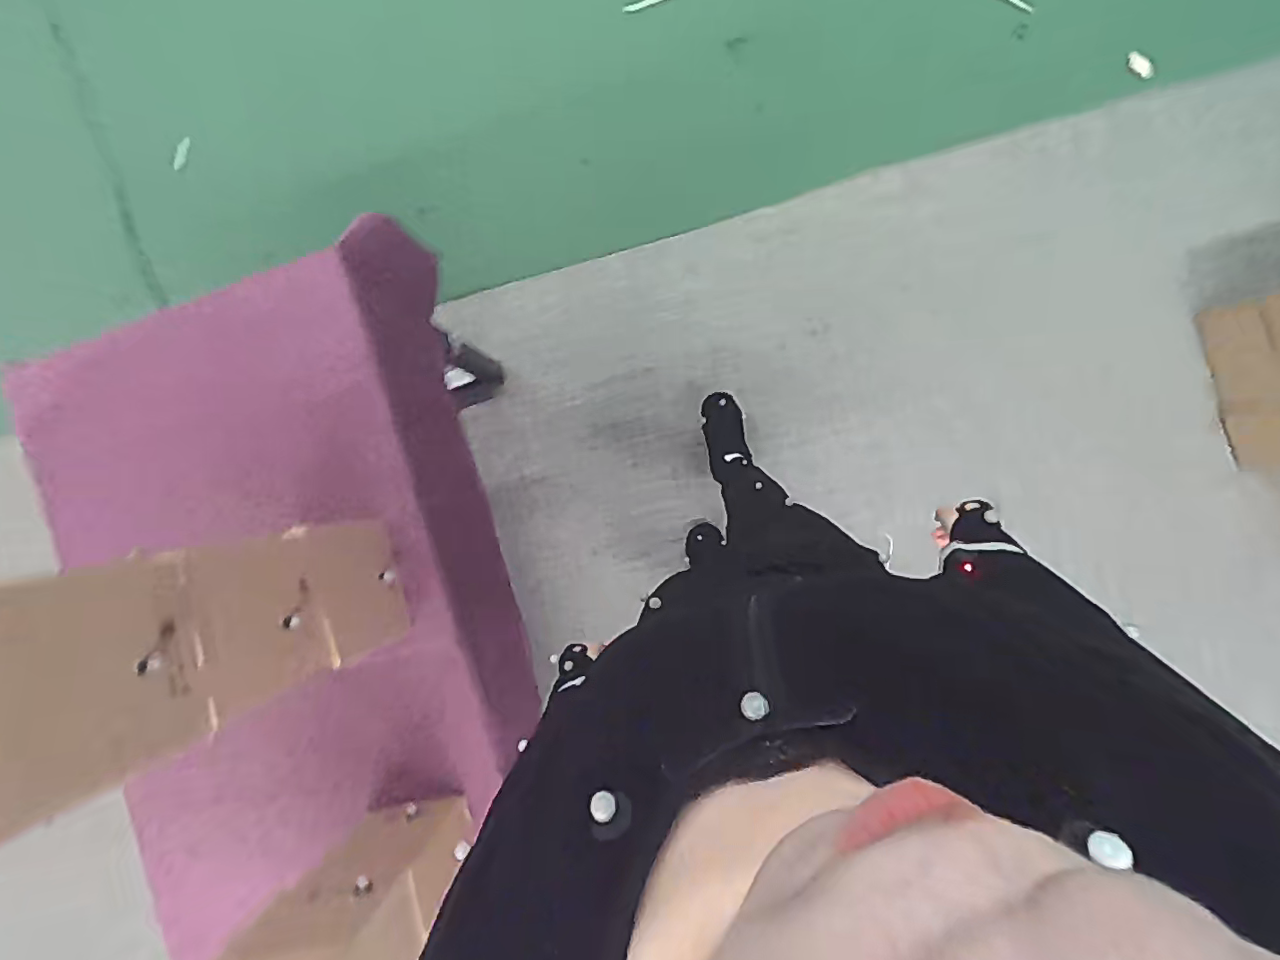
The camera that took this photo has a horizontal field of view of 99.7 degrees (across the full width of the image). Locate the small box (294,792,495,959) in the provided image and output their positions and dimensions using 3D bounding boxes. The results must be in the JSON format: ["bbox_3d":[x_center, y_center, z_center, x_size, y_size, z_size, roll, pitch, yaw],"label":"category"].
[{"bbox_3d":[-0.312,0.562,0.724,0.168,0.176,0.179,-15,88,5],"label":"small box"}]

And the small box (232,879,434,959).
[{"bbox_3d":[-0.332,0.557,0.561,0.168,0.176,0.179,-16,89,5],"label":"small box"}]
